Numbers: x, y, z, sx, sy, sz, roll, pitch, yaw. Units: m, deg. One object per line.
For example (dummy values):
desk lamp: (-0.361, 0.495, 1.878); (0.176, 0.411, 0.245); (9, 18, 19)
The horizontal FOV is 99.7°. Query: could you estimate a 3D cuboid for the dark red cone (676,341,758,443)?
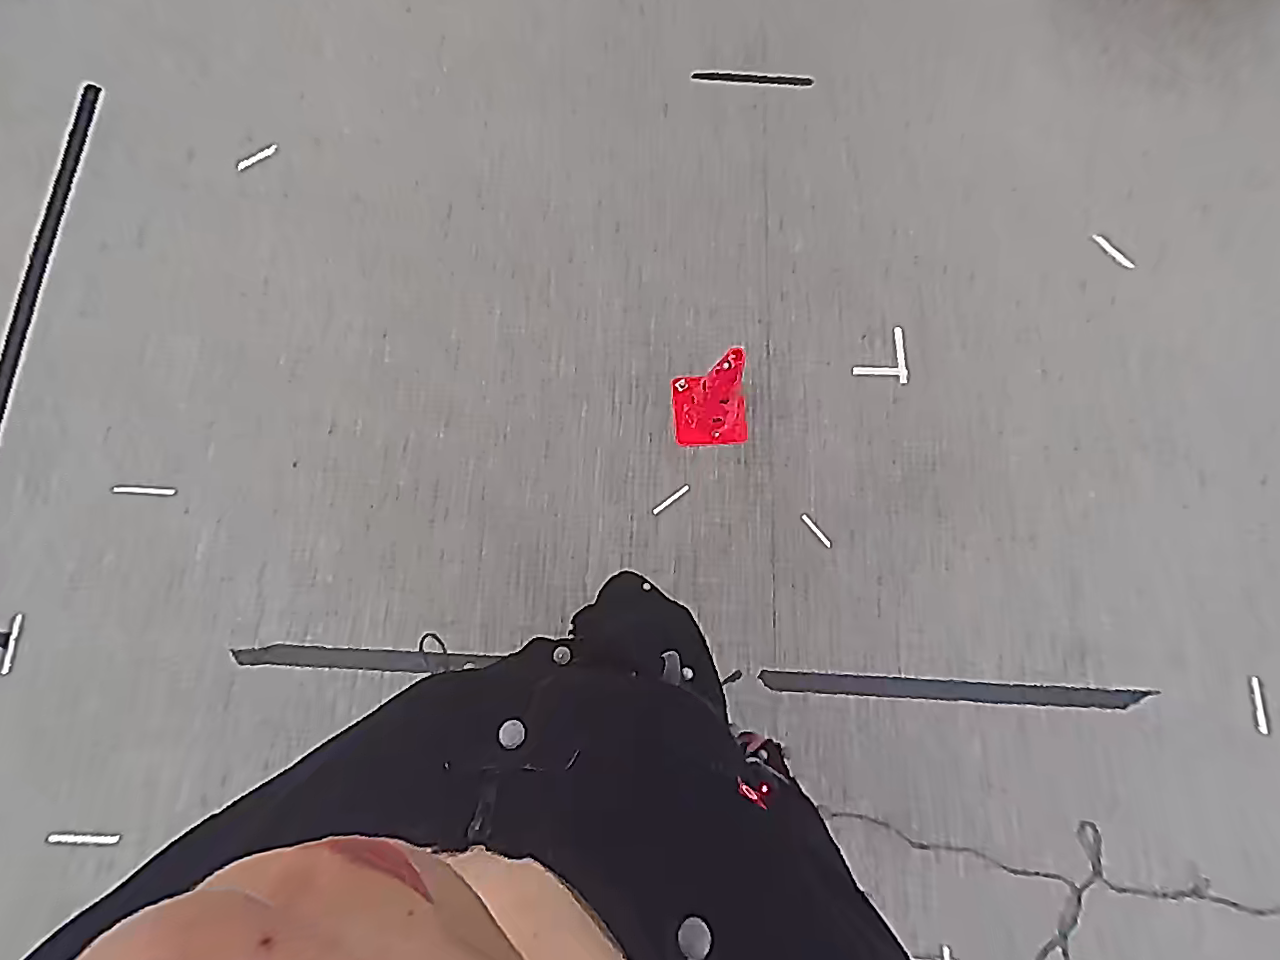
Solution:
dark red cone: (0.206, -0.229, 1.282); (0.202, 0.394, 0.201); (-4, 80, -3)
